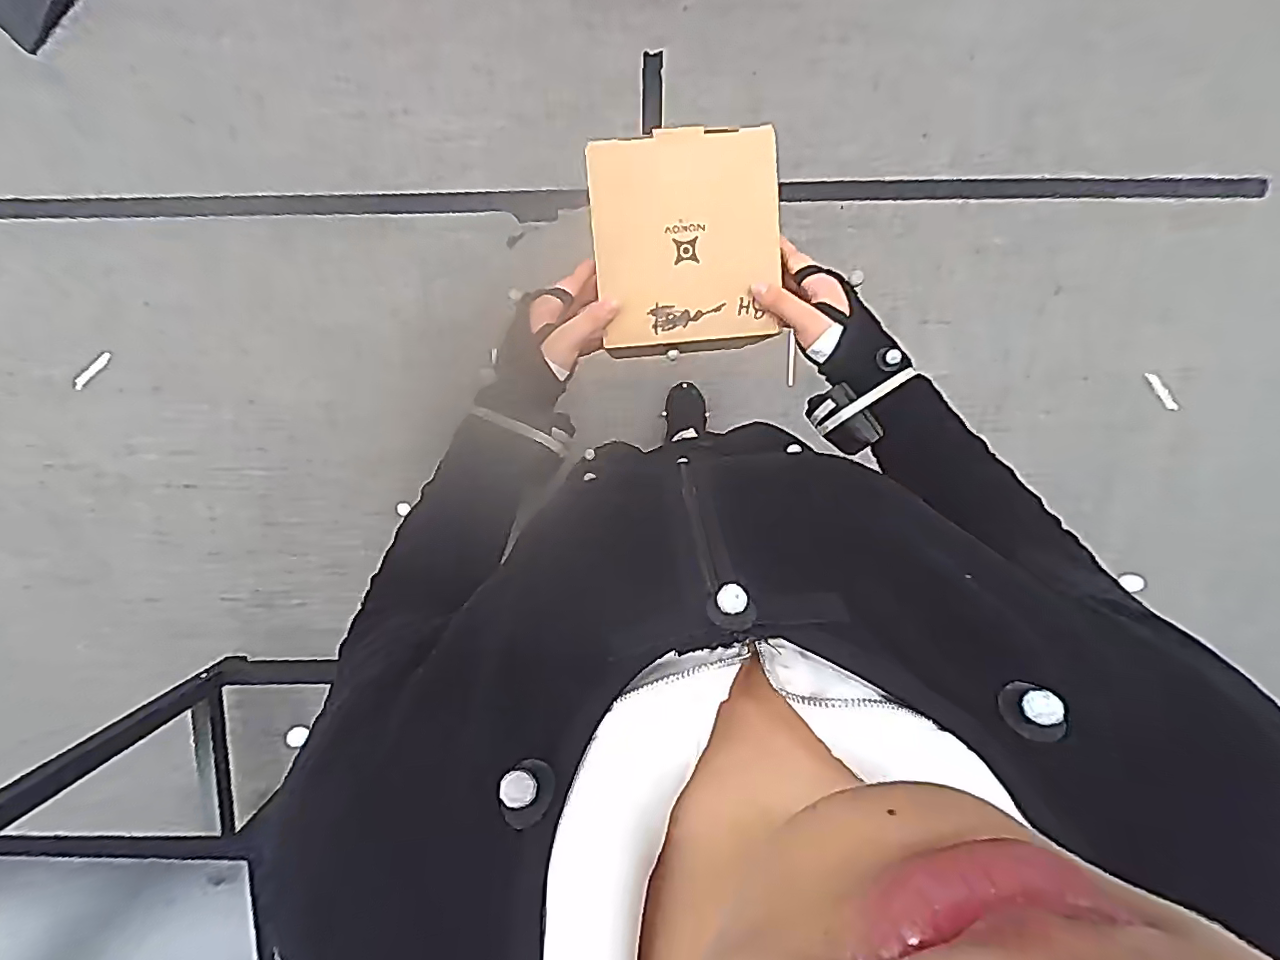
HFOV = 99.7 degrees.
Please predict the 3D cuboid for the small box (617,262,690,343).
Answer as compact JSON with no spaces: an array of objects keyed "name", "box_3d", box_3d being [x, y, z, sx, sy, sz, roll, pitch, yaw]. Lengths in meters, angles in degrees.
[{"name":"small box","box_3d":[0.032,-0.440,1.359,0.179,0.176,0.168,-1,96,1]}]
